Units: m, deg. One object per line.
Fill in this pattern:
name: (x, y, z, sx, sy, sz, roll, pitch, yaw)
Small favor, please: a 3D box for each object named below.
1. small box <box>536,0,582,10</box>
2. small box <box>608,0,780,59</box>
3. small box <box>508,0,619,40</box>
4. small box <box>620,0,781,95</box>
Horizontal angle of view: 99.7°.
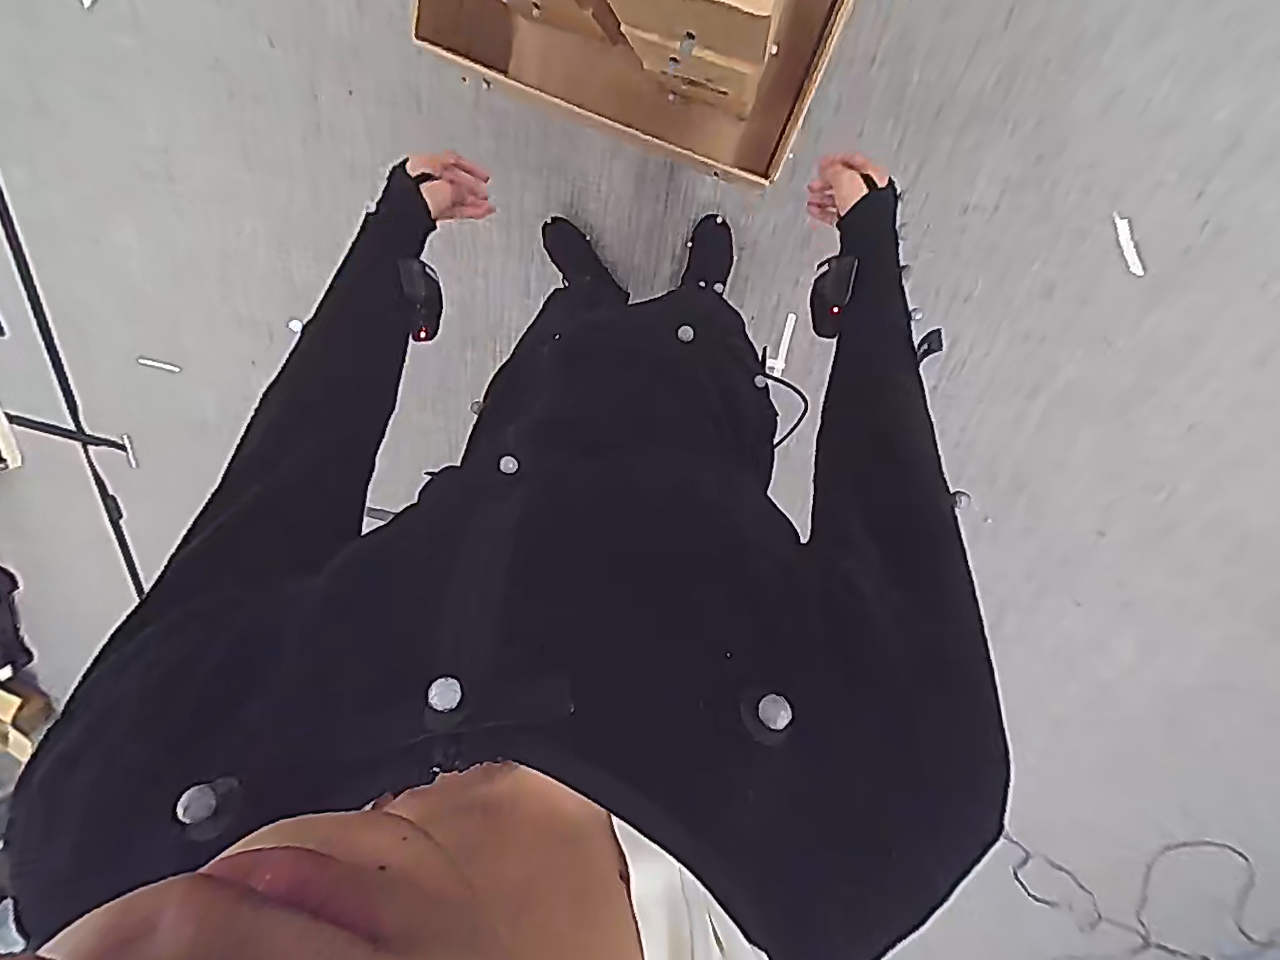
small box: (-0.152, -0.718, 0.649, 0.168, 0.176, 0.179, 17, 118, 3)
small box: (0.067, -0.537, 0.517, 0.179, 0.176, 0.168, 18, 117, 1)
small box: (-0.117, -0.787, 0.795, 0.179, 0.176, 0.168, 19, 118, 0)
small box: (0.090, -0.607, 0.663, 0.168, 0.176, 0.179, 20, 117, 0)
